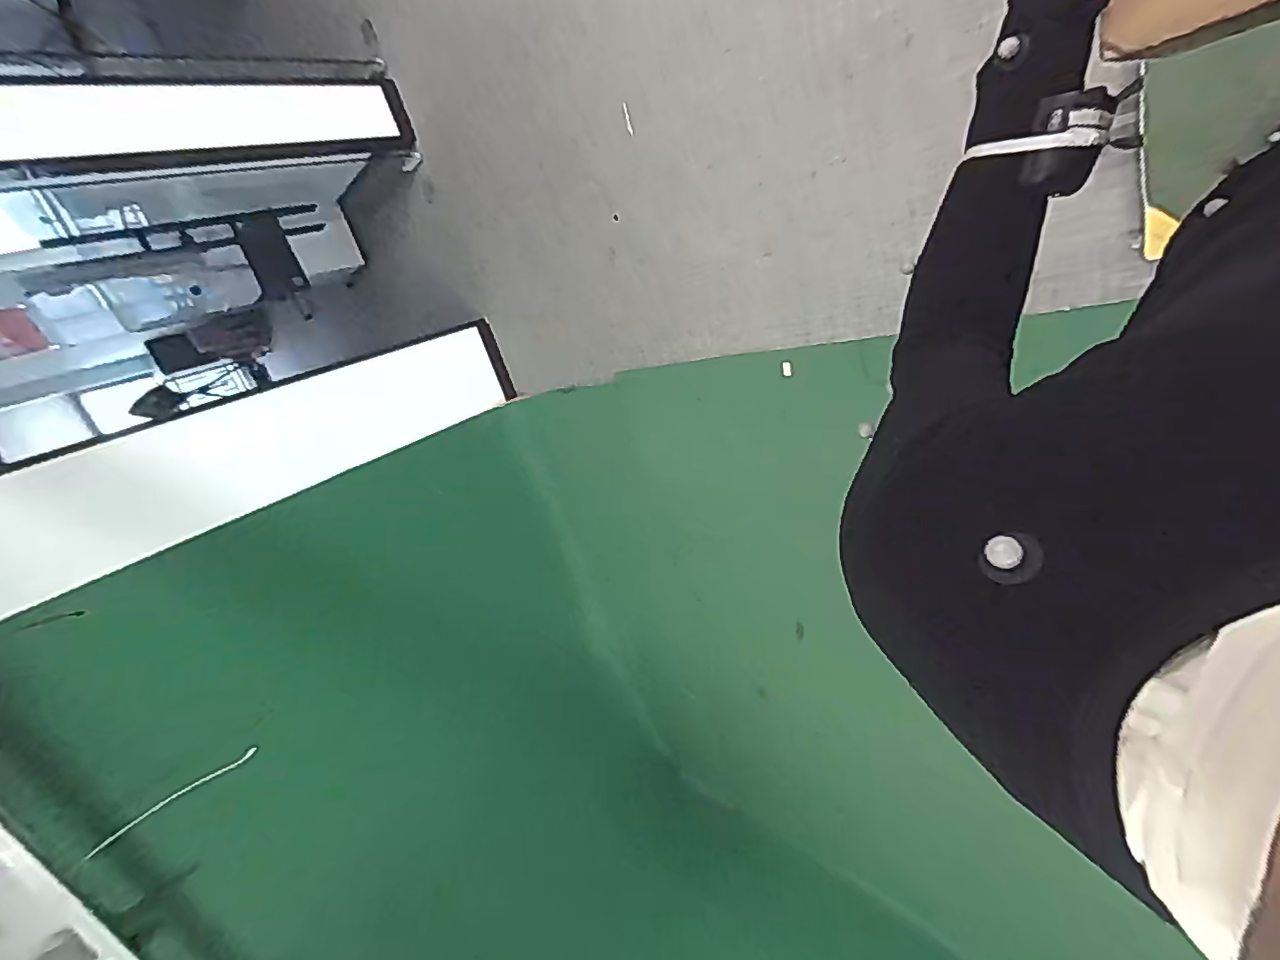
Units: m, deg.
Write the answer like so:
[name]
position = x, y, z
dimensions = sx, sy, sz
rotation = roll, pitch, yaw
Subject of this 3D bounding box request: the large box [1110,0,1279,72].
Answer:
[large box]
position = 0.532, -0.489, 0.286
dimensions = 0.408, 0.320, 0.320
rotation = 6, 120, 47
